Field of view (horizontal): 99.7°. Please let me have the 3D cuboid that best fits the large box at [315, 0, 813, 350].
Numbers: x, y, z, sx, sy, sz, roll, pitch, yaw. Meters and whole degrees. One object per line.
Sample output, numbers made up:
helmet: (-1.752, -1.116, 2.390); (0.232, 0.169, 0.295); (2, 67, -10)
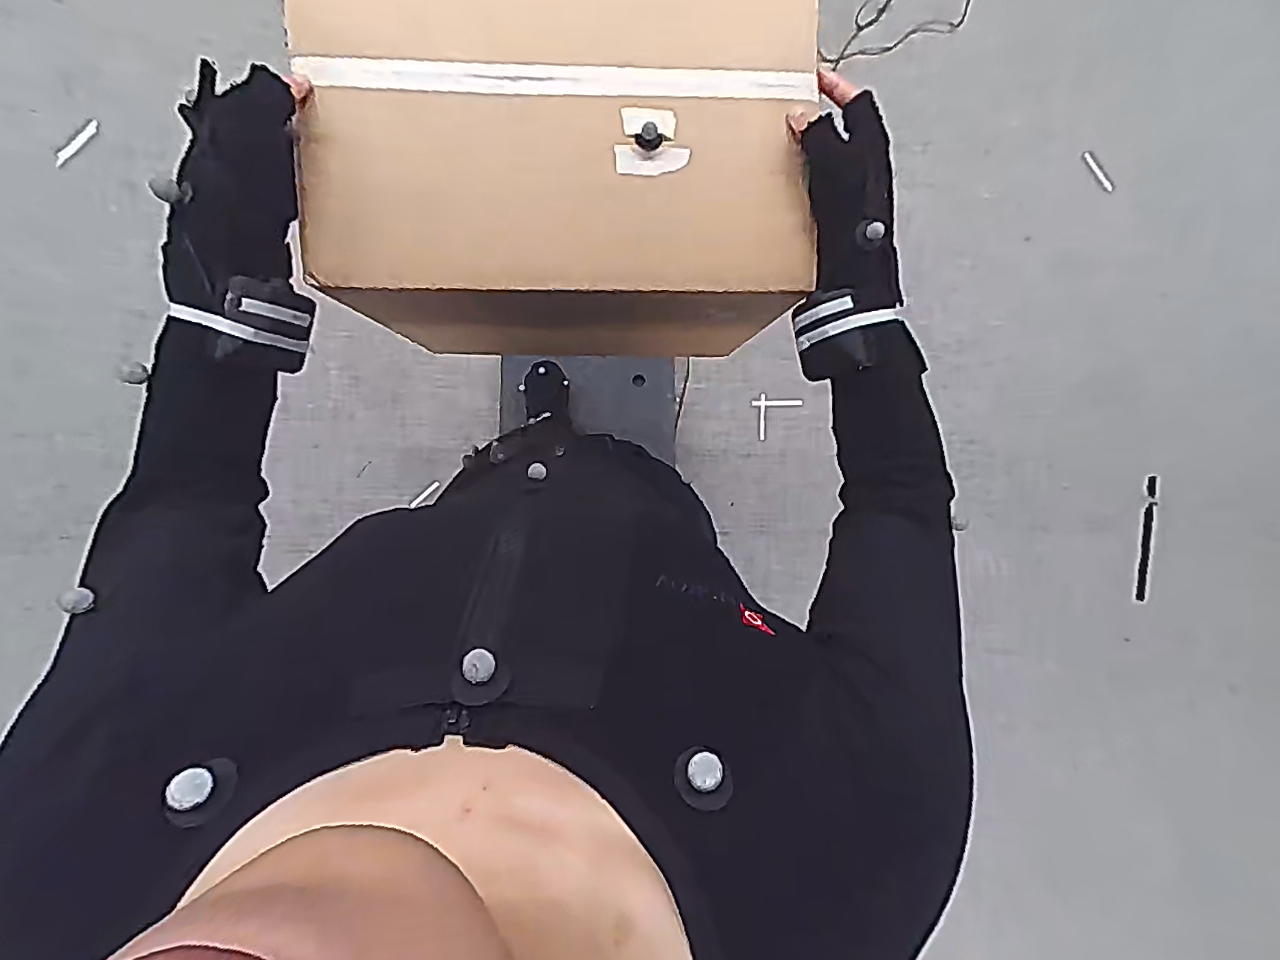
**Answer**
large box: (-0.067, -0.326, 0.585); (0.408, 0.320, 0.320); (-1, 94, -4)
